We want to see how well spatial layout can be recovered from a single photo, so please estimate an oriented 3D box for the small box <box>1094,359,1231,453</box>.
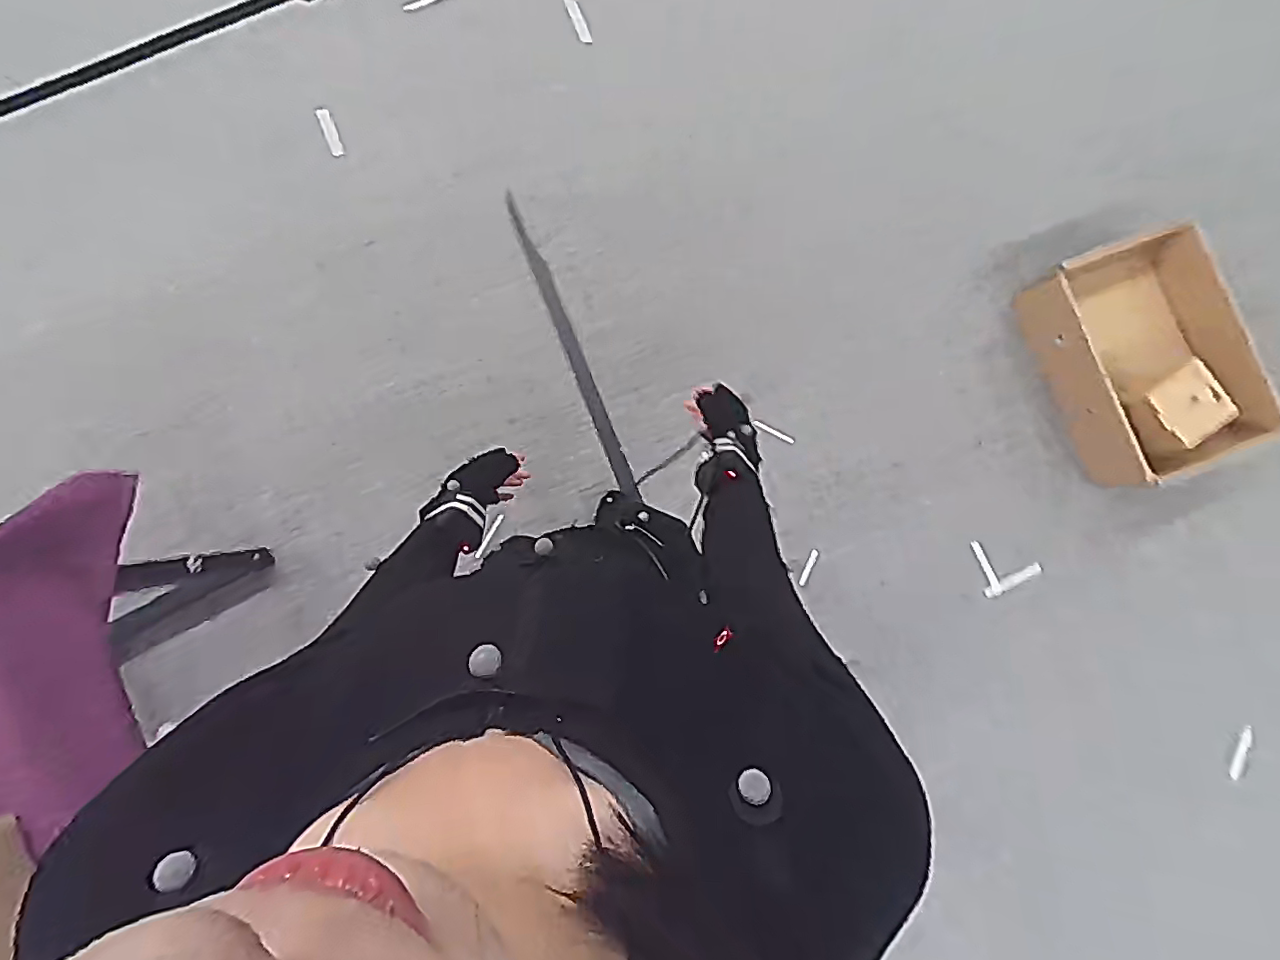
[{"bbox_3d":[1.369,-0.189,1.437,0.179,0.176,0.168,-34,87,-3],"label":"small box"}]
